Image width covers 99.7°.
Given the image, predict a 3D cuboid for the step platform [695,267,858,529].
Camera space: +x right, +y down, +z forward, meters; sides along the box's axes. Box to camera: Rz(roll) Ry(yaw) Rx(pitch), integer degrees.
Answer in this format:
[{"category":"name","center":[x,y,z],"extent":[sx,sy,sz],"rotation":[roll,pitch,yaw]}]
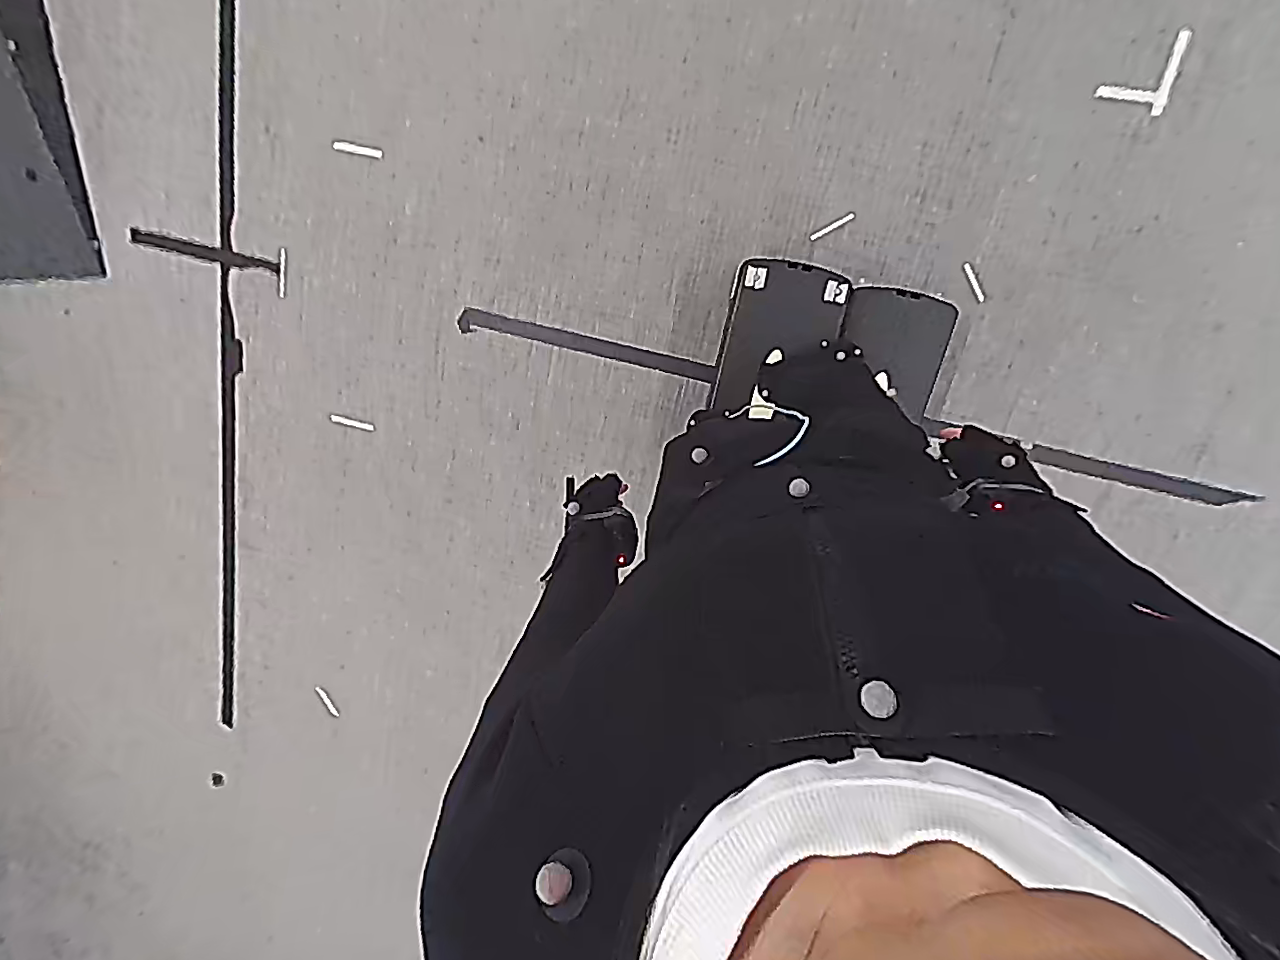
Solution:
[{"category":"step platform","center":[0.353,-0.211,1.471],"extent":[0.286,0.204,0.684],"rotation":[12,104,5]}]
